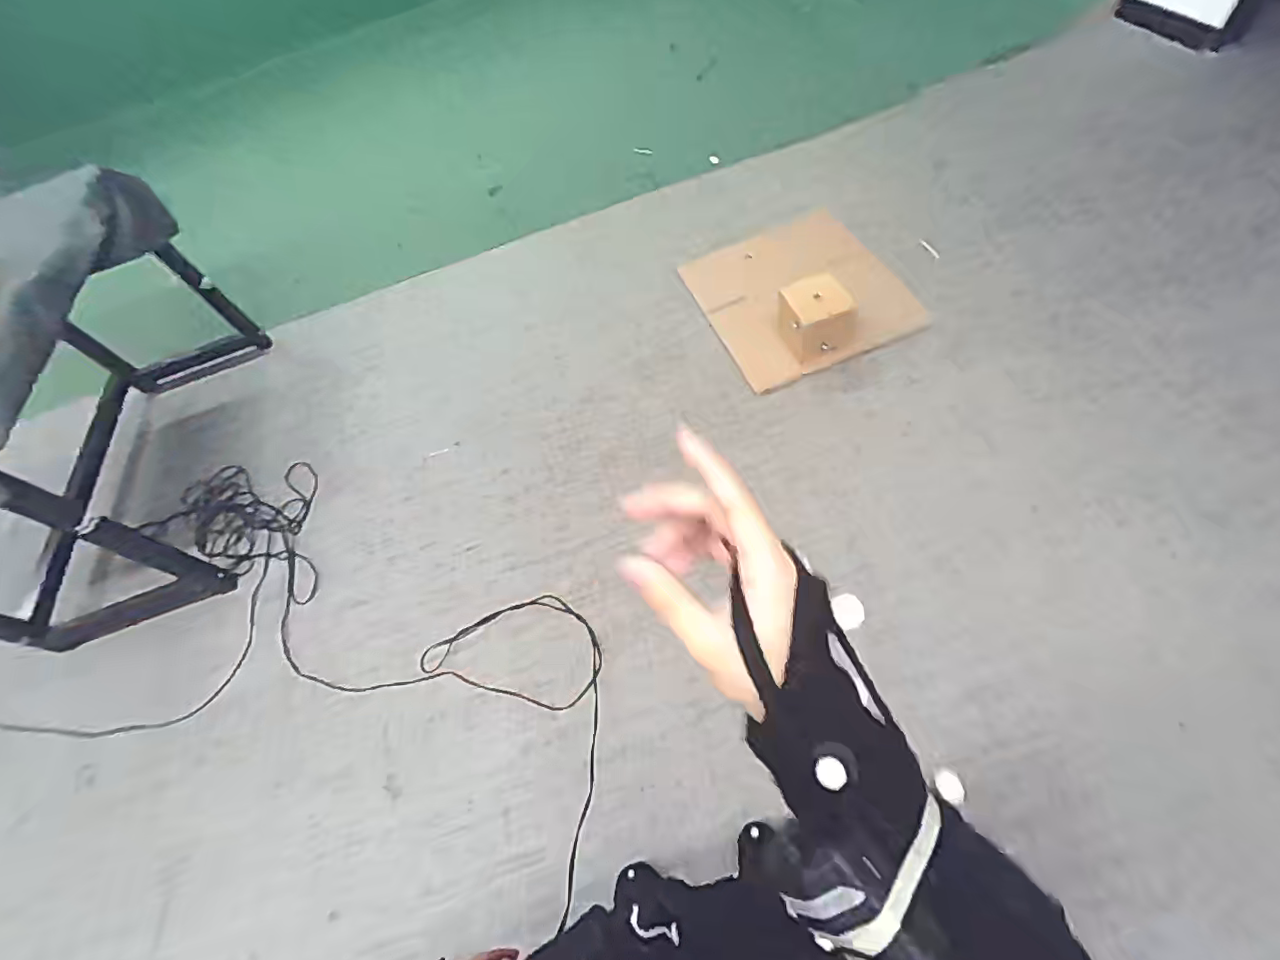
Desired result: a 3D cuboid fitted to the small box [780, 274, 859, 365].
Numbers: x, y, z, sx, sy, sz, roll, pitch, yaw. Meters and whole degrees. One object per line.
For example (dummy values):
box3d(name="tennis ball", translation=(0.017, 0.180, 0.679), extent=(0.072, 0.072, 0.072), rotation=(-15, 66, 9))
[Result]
box3d(name="small box", translation=(0.533, -0.482, 1.634), extent=(0.168, 0.176, 0.179), rotation=(-20, 57, 0))
